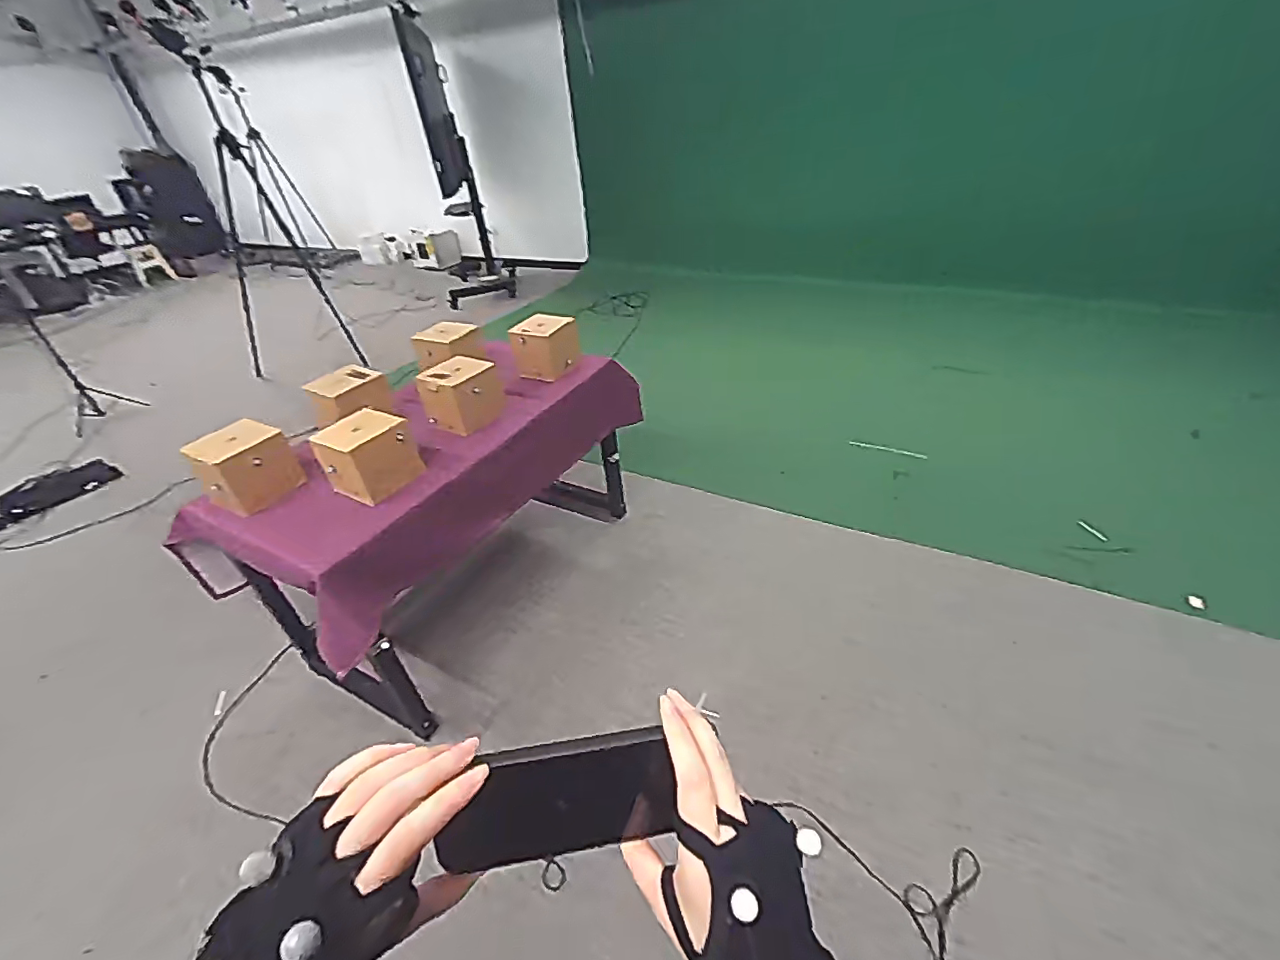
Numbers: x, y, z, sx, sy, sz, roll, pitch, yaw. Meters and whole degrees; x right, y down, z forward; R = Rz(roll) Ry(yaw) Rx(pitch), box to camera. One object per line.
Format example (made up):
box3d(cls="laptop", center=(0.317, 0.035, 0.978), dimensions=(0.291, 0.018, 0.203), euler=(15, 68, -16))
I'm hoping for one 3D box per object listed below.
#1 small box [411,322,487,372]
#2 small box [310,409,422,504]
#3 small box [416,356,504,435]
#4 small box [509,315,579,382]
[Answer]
box3d(cls="small box", center=(-0.674, -0.450, 1.929), dimensions=(0.179, 0.176, 0.168), euler=(14, 41, 24))
box3d(cls="small box", center=(-0.701, -0.062, 1.402), dimensions=(0.168, 0.176, 0.179), euler=(16, 40, 27))
box3d(cls="small box", center=(-0.540, -0.258, 1.648), dimensions=(0.168, 0.176, 0.179), euler=(17, 41, 29))
box3d(cls="small box", center=(-0.330, -0.466, 1.903), dimensions=(0.168, 0.176, 0.179), euler=(14, 40, 26))
